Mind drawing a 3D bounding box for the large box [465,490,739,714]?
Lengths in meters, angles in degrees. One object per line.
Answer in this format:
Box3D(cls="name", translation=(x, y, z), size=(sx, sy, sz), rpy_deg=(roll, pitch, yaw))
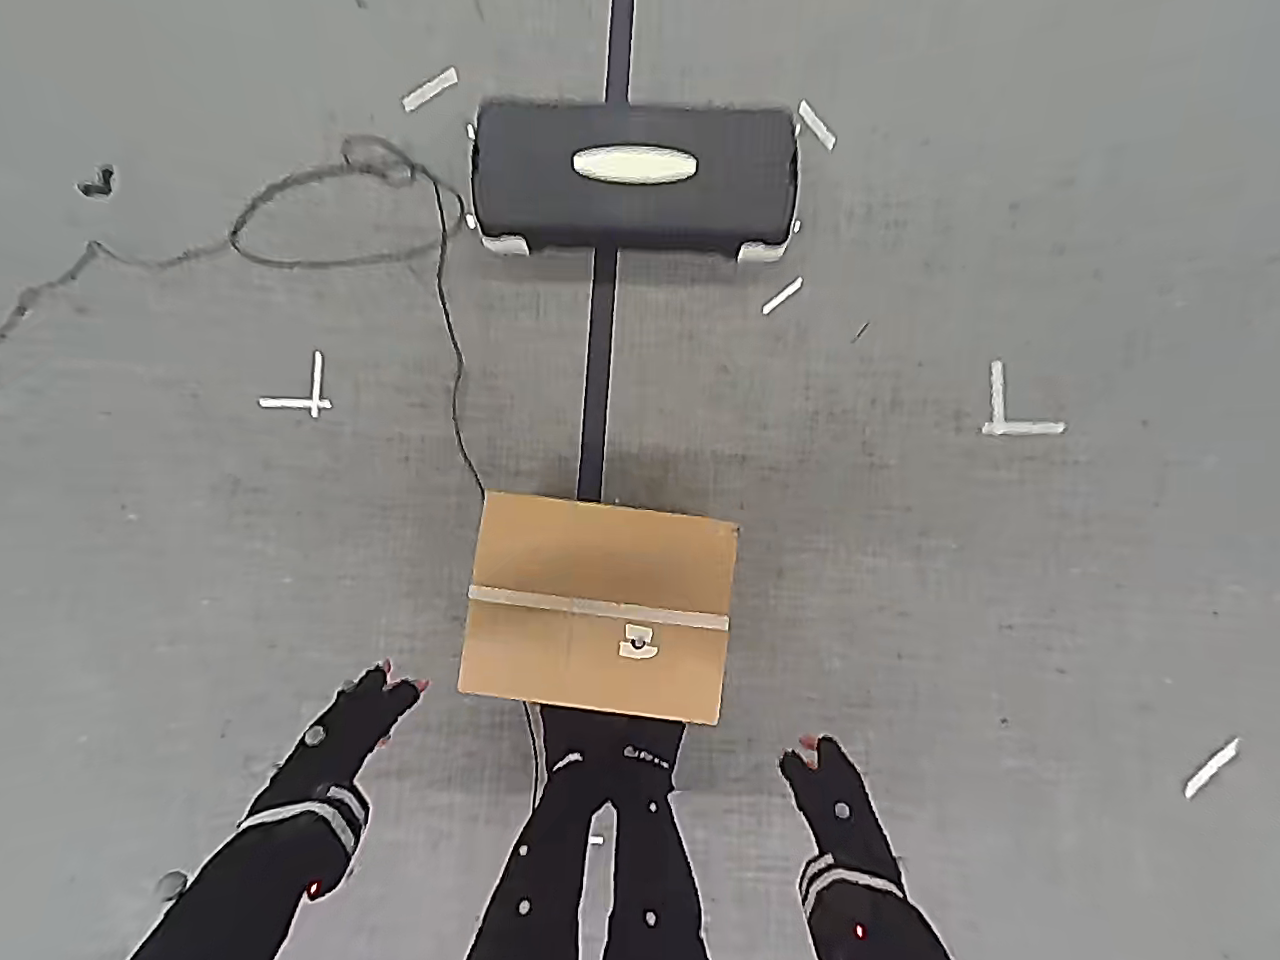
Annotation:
Box3D(cls="large box", translation=(-0.061, 0.201, 0.989), size=(0.408, 0.320, 0.320), rpy_deg=(7, 86, 0))
